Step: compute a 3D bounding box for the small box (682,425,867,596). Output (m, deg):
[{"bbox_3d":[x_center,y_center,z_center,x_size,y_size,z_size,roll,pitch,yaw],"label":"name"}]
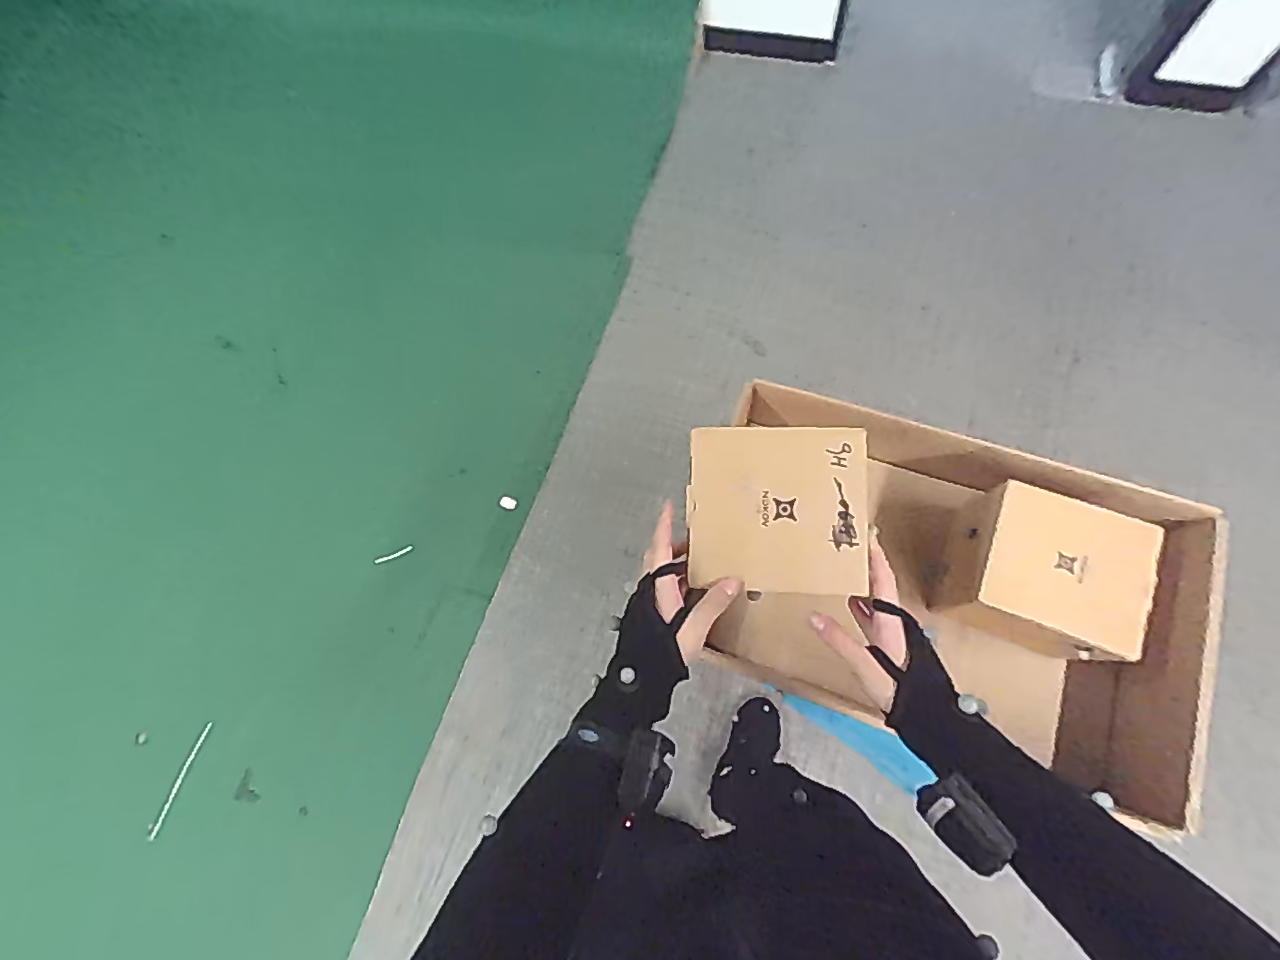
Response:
[{"bbox_3d":[0.144,0.039,0.607,0.179,0.176,0.168,1,82,9],"label":"small box"}]
